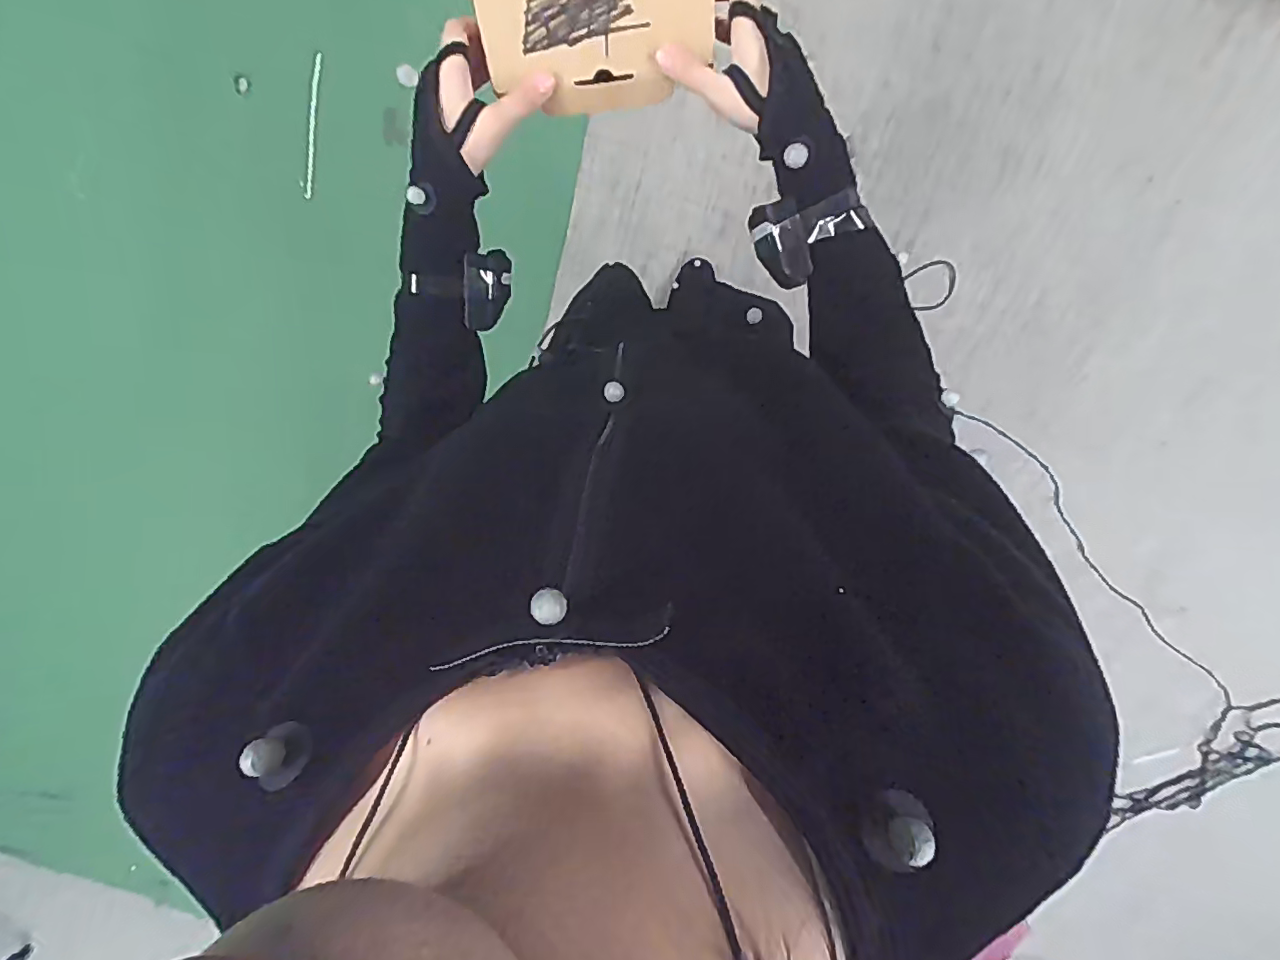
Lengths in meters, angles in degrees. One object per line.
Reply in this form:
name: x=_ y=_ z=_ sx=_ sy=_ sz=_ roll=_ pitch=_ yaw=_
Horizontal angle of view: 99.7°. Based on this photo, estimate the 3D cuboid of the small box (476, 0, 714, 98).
small box: x=-0.033 y=-0.407 z=0.412 sx=0.168 sy=0.176 sz=0.179 roll=-5 pitch=124 yaw=4
